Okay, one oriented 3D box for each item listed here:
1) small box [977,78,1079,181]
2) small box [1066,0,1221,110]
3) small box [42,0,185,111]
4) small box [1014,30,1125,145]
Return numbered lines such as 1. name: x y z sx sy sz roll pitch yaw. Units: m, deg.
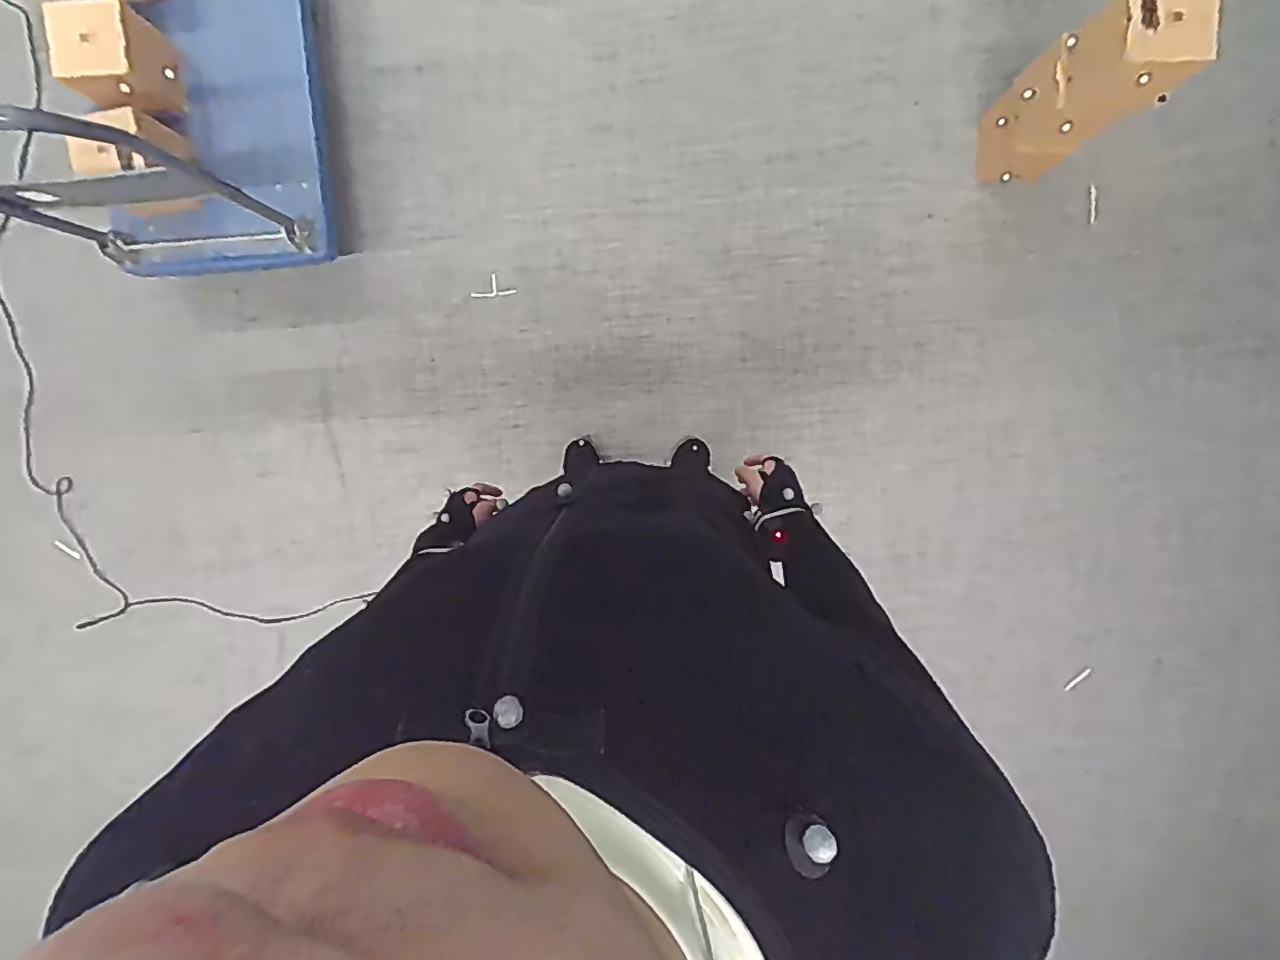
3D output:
1. small box: 1.040 -0.936 1.452 0.168 0.176 0.179 2 96 1
2. small box: 1.037 -0.903 1.126 0.179 0.176 0.168 0 95 1
3. small box: -1.252 -1.018 1.297 0.179 0.176 0.168 -3 95 0
4. small box: 1.033 -0.926 1.289 0.179 0.176 0.168 1 95 2
